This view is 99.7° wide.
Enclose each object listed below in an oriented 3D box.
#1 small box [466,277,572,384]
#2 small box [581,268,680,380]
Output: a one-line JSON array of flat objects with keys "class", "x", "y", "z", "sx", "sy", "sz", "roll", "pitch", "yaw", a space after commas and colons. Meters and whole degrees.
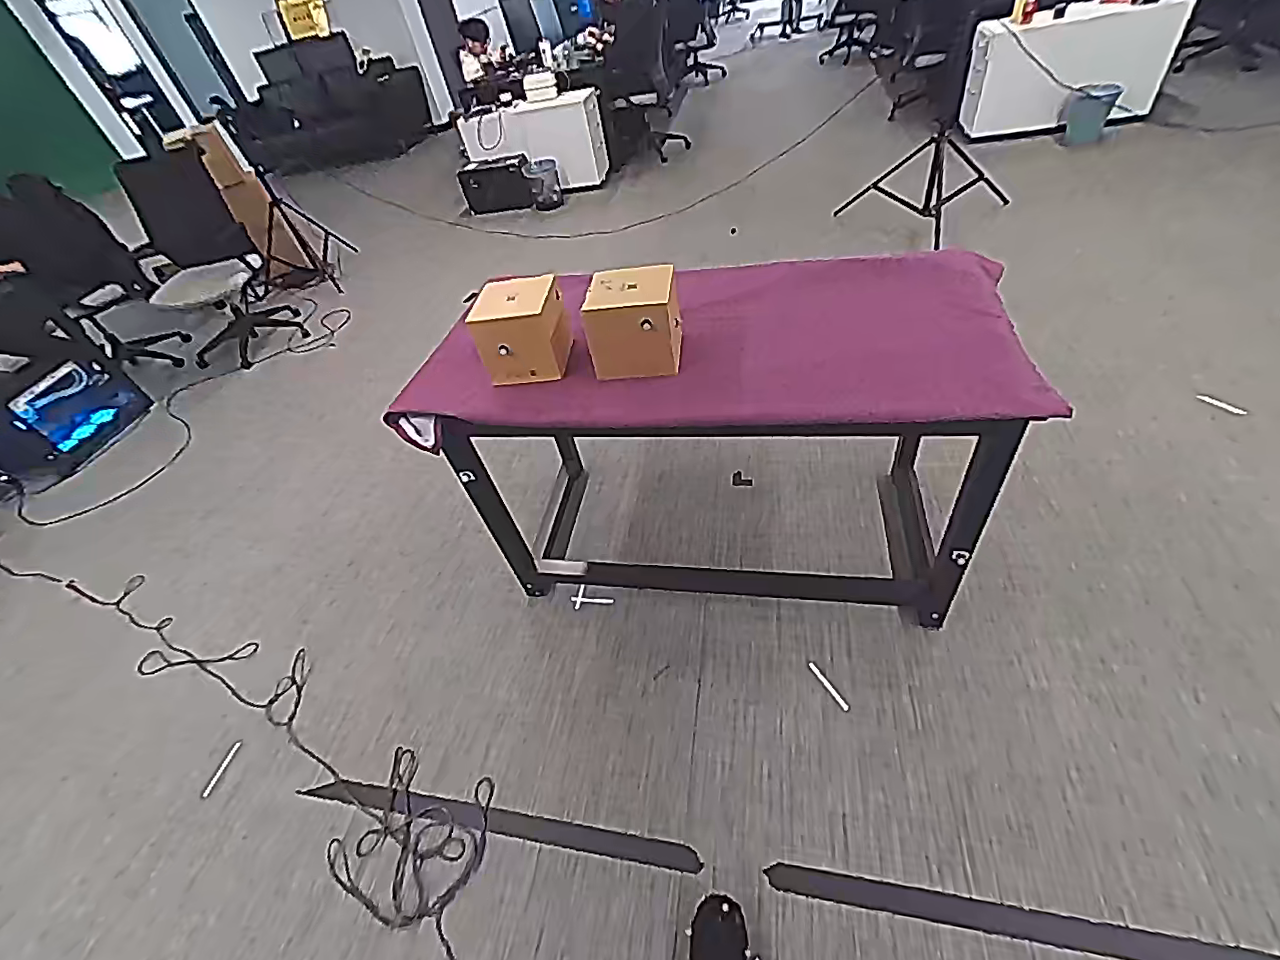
[{"class": "small box", "x": -0.260, "y": -0.327, "z": 1.212, "sx": 0.168, "sy": 0.176, "sz": 0.179, "roll": -4, "pitch": 45, "yaw": 9}, {"class": "small box", "x": -0.011, "y": -0.328, "z": 1.151, "sx": 0.179, "sy": 0.176, "sz": 0.168, "roll": -2, "pitch": 45, "yaw": 11}]
